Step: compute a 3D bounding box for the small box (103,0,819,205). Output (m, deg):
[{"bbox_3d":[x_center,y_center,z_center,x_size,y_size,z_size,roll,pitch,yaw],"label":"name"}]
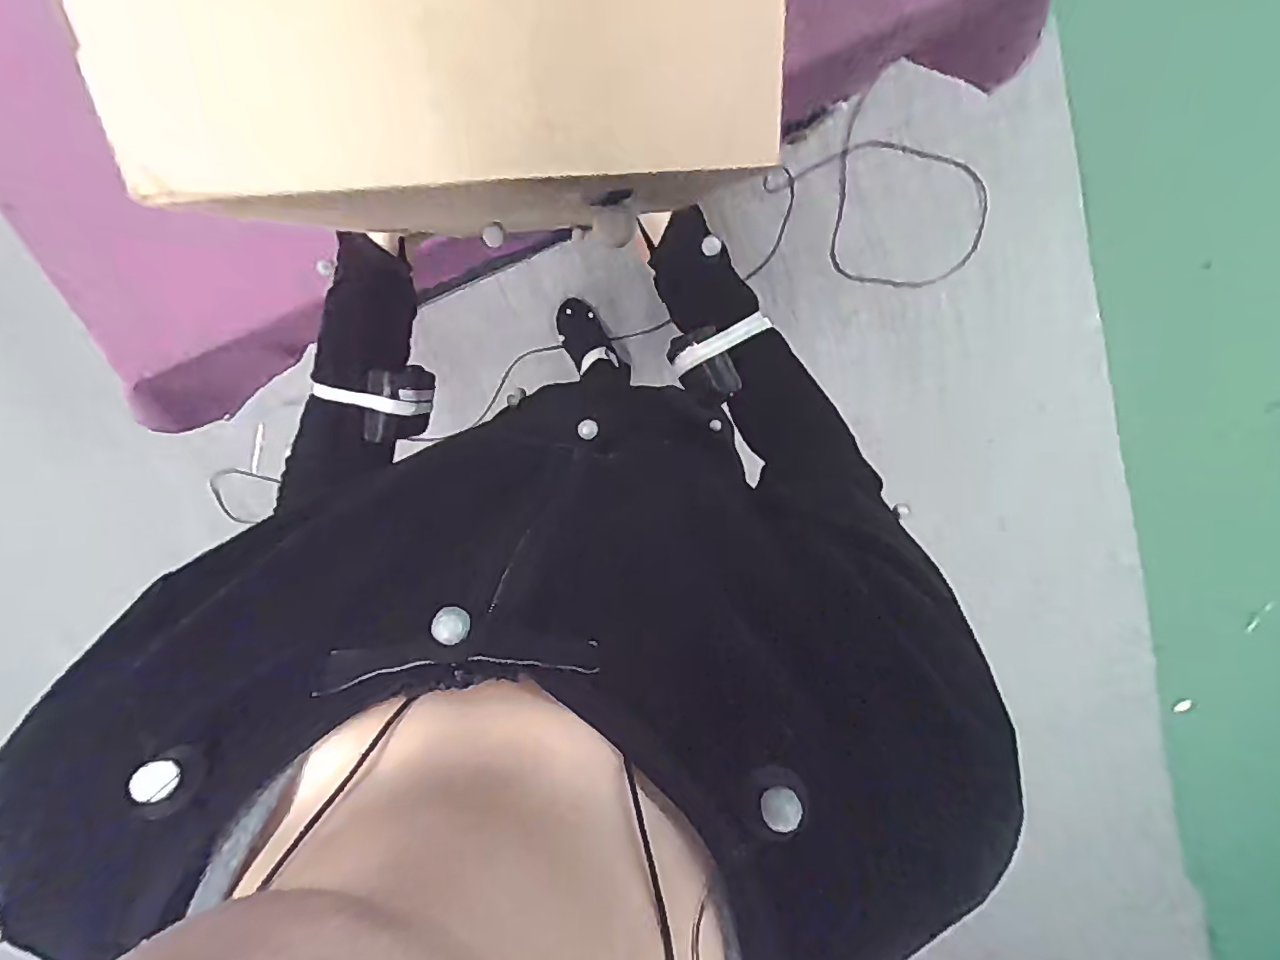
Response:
[{"bbox_3d":[-0.052,-0.194,0.186,0.179,0.176,0.168,-6,114,-7],"label":"small box"}]
